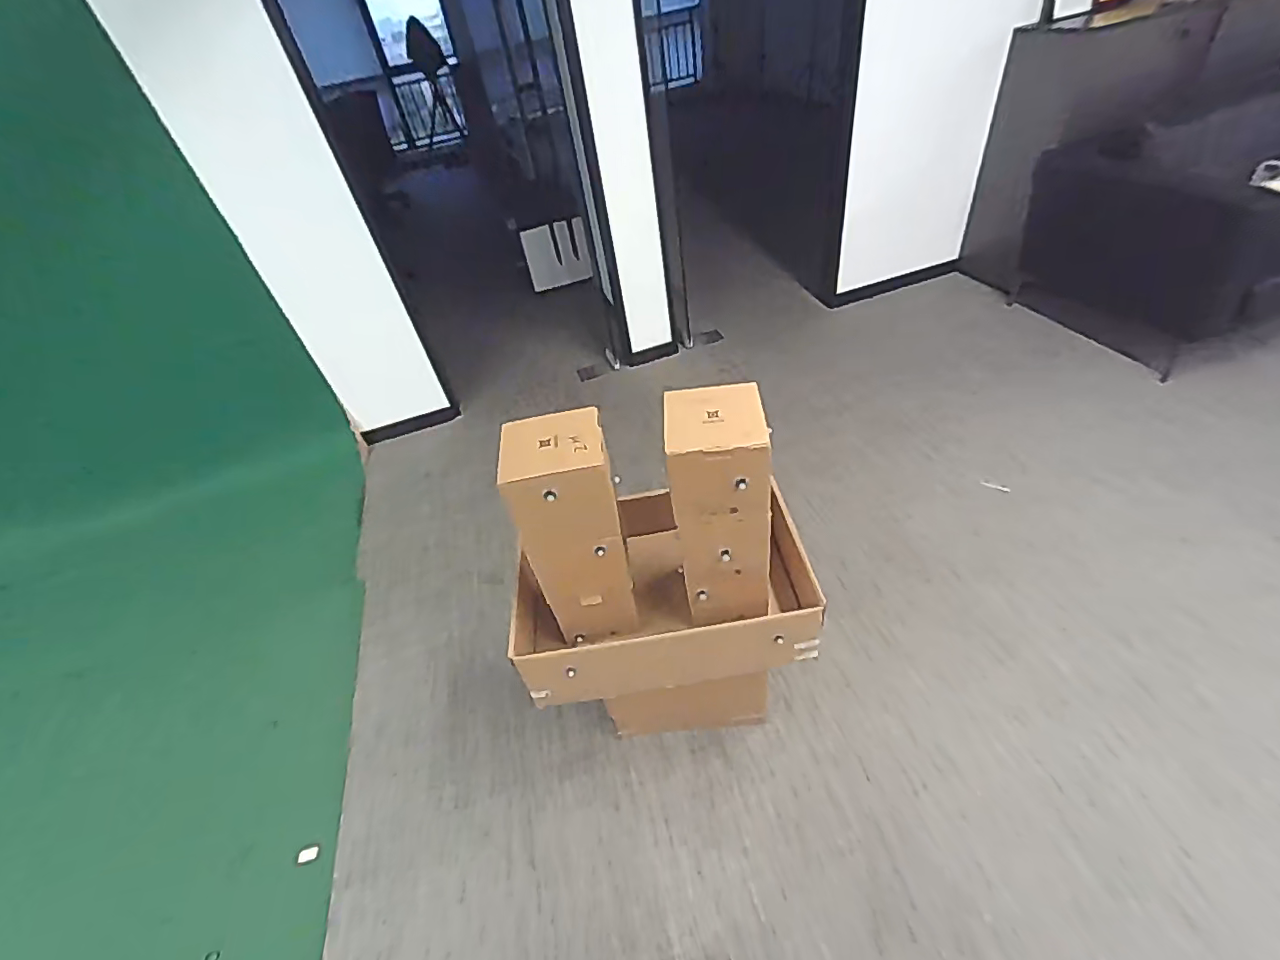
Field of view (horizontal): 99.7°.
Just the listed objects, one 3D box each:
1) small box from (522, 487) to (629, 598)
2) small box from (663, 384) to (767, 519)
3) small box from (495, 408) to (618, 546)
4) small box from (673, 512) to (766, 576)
[{"bbox_3d":[-0.125,0.116,1.074,0.179,0.176,0.168,-9,43,-1],"label":"small box"},{"bbox_3d":[0.131,-0.044,0.949,0.168,0.176,0.179,-4,42,6],"label":"small box"},{"bbox_3d":[-0.143,-0.002,0.961,0.179,0.176,0.168,-10,43,-1],"label":"small box"},{"bbox_3d":[0.154,0.075,1.059,0.168,0.176,0.179,-5,43,6],"label":"small box"}]
